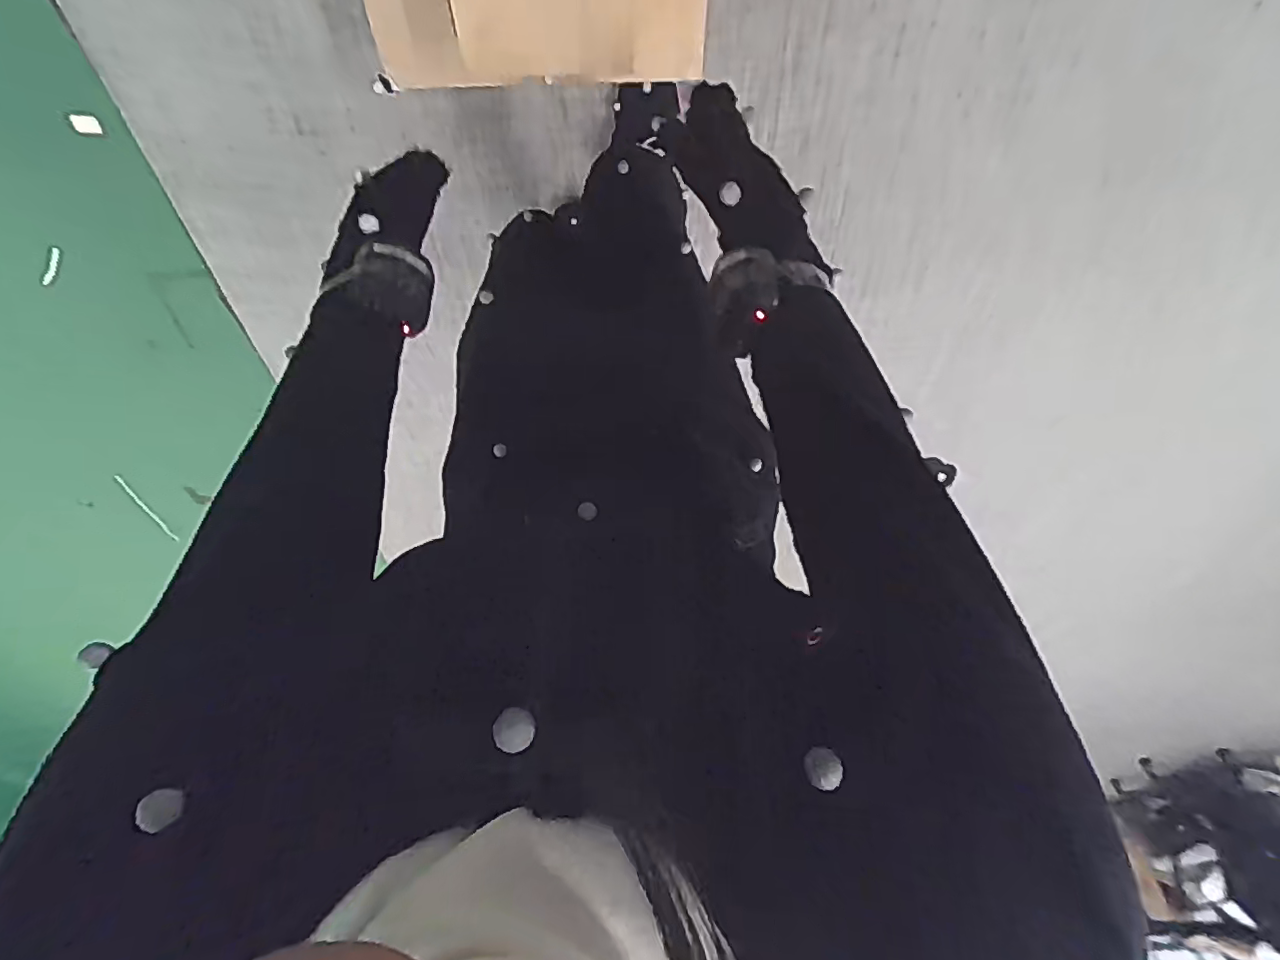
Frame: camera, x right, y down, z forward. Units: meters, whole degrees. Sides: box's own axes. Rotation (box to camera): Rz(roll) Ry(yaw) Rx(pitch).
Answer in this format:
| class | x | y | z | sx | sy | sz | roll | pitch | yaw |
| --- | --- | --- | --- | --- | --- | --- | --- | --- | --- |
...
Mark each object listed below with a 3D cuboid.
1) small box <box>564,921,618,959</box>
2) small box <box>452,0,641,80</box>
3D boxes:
| class | x | y | z | sx | sy | sz | roll | pitch | yaw |
| --- | --- | --- | --- | --- | --- | --- | --- | --- | --- |
| small box | -0.177 | 1.715 | 1.961 | 0.179 | 0.176 | 0.168 | -2 | 136 | 3 |
| small box | -0.090 | -0.524 | 0.548 | 0.179 | 0.176 | 0.168 | -2 | 137 | 2 |
